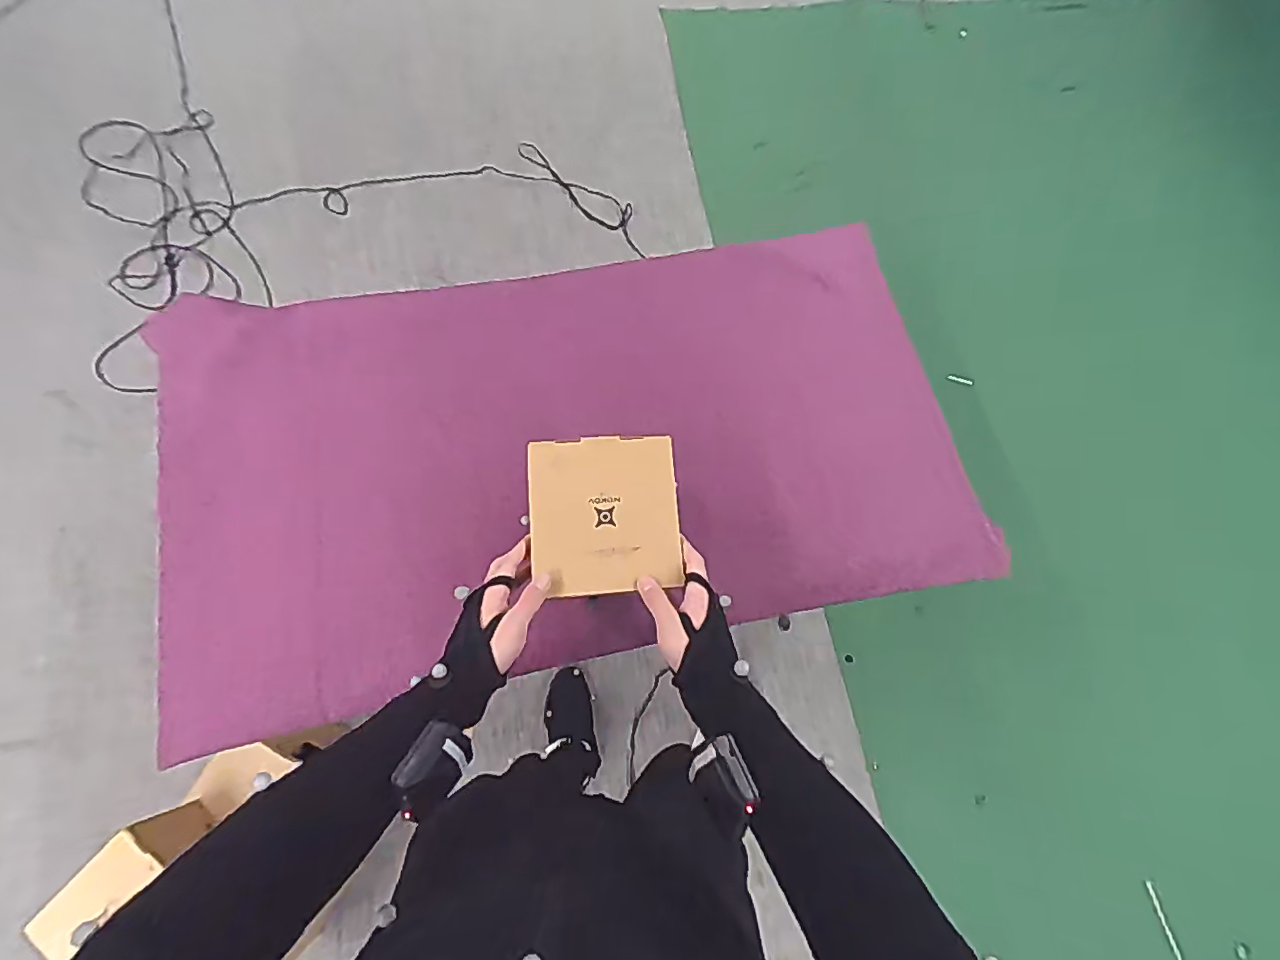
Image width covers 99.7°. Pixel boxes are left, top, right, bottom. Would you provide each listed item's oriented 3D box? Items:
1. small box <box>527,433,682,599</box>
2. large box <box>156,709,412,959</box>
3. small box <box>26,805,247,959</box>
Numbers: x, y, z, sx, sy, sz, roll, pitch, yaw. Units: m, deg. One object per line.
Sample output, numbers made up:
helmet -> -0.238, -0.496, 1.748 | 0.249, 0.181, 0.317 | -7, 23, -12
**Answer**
small box -> -0.049, 0.052, 0.666 | 0.168, 0.176, 0.179 | -3, 77, -6
large box -> -0.771, 0.764, 1.151 | 0.320, 0.320, 0.408 | 28, 72, 3
small box -> -0.828, 0.695, 0.911 | 0.168, 0.176, 0.179 | 38, 74, 9
